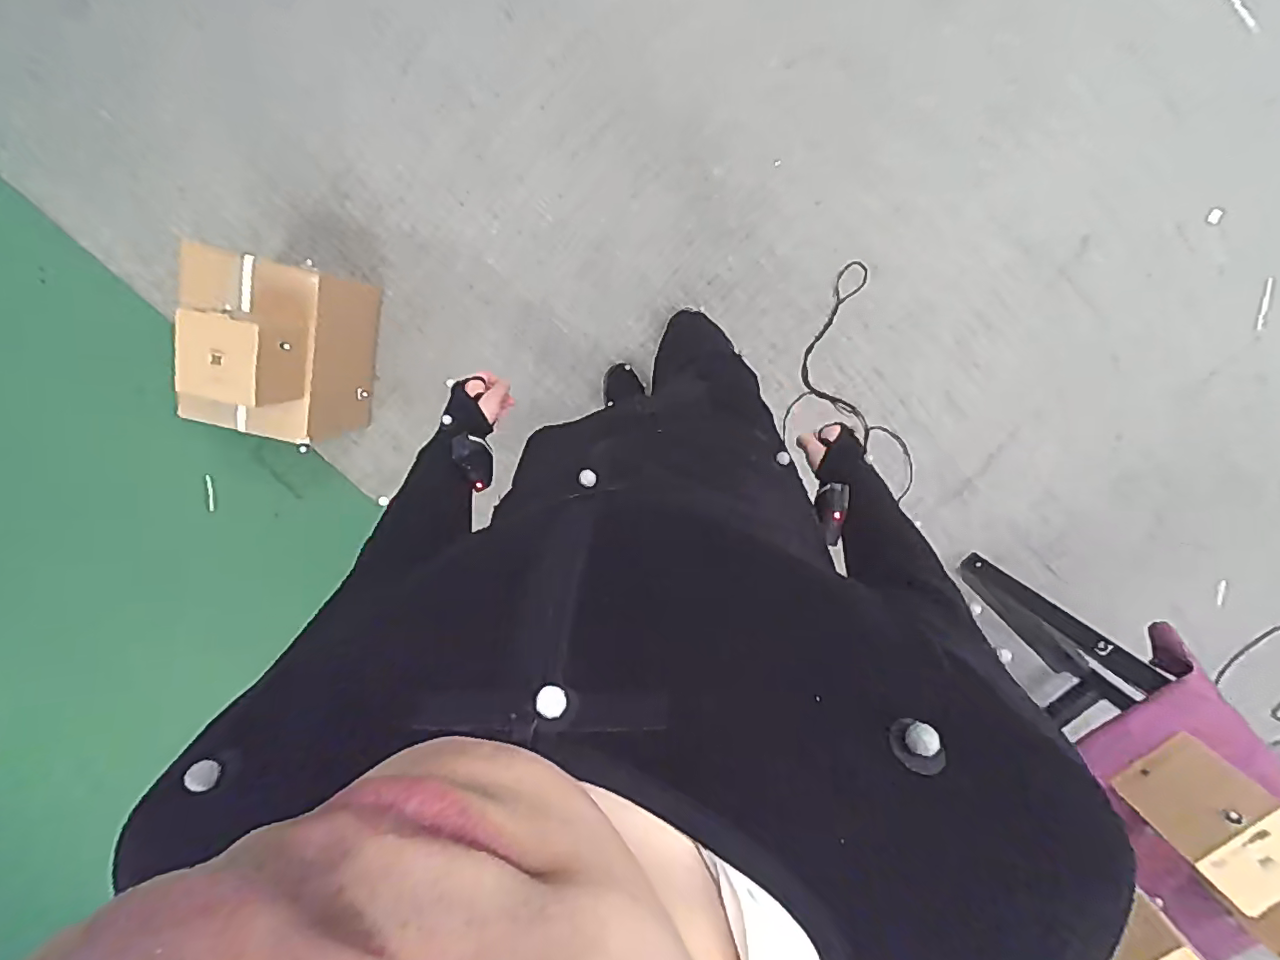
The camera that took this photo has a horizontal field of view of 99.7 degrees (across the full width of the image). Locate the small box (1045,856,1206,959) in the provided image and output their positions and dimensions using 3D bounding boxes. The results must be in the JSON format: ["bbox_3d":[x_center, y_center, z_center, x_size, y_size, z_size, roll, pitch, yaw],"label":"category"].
[{"bbox_3d":[0.920,0.873,1.023,0.168,0.176,0.179,44,102,-11],"label":"small box"}]

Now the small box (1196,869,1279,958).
[{"bbox_3d":[1.216,0.788,0.999,0.168,0.176,0.179,44,102,-9],"label":"small box"}]

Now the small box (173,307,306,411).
[{"bbox_3d":[-0.853,-0.262,1.165,0.168,0.176,0.179,13,105,-3],"label":"small box"}]

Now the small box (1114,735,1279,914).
[{"bbox_3d":[1.008,0.592,0.947,0.179,0.176,0.168,41,101,-11],"label":"small box"}]
